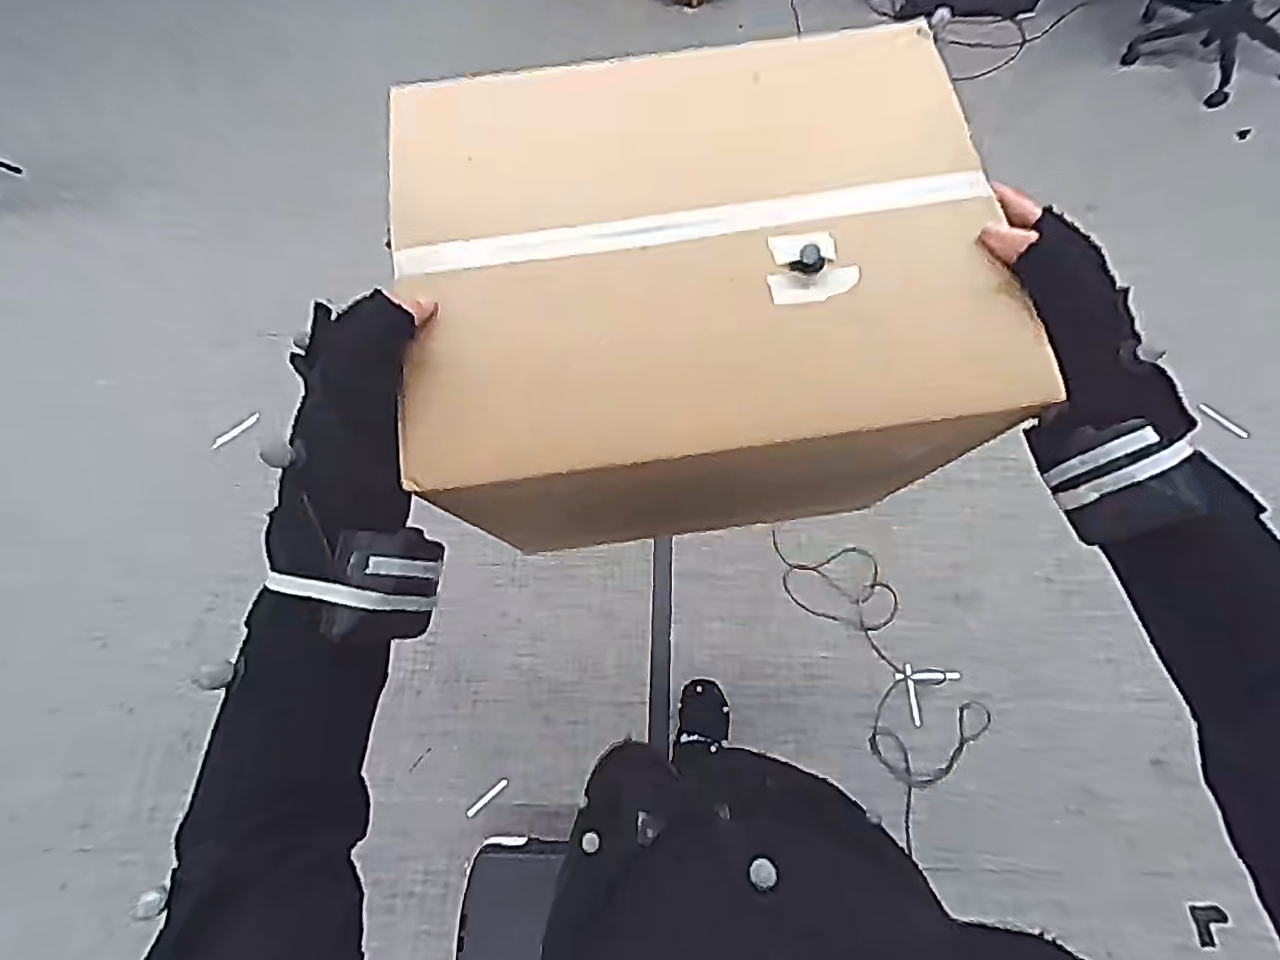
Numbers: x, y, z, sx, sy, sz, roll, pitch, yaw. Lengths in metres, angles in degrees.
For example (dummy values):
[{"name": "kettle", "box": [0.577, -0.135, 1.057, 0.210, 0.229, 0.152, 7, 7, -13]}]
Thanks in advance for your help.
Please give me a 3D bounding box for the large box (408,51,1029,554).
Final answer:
[{"name": "large box", "box": [0.038, -0.127, 0.529, 0.408, 0.320, 0.320, -8, 75, -1]}]
